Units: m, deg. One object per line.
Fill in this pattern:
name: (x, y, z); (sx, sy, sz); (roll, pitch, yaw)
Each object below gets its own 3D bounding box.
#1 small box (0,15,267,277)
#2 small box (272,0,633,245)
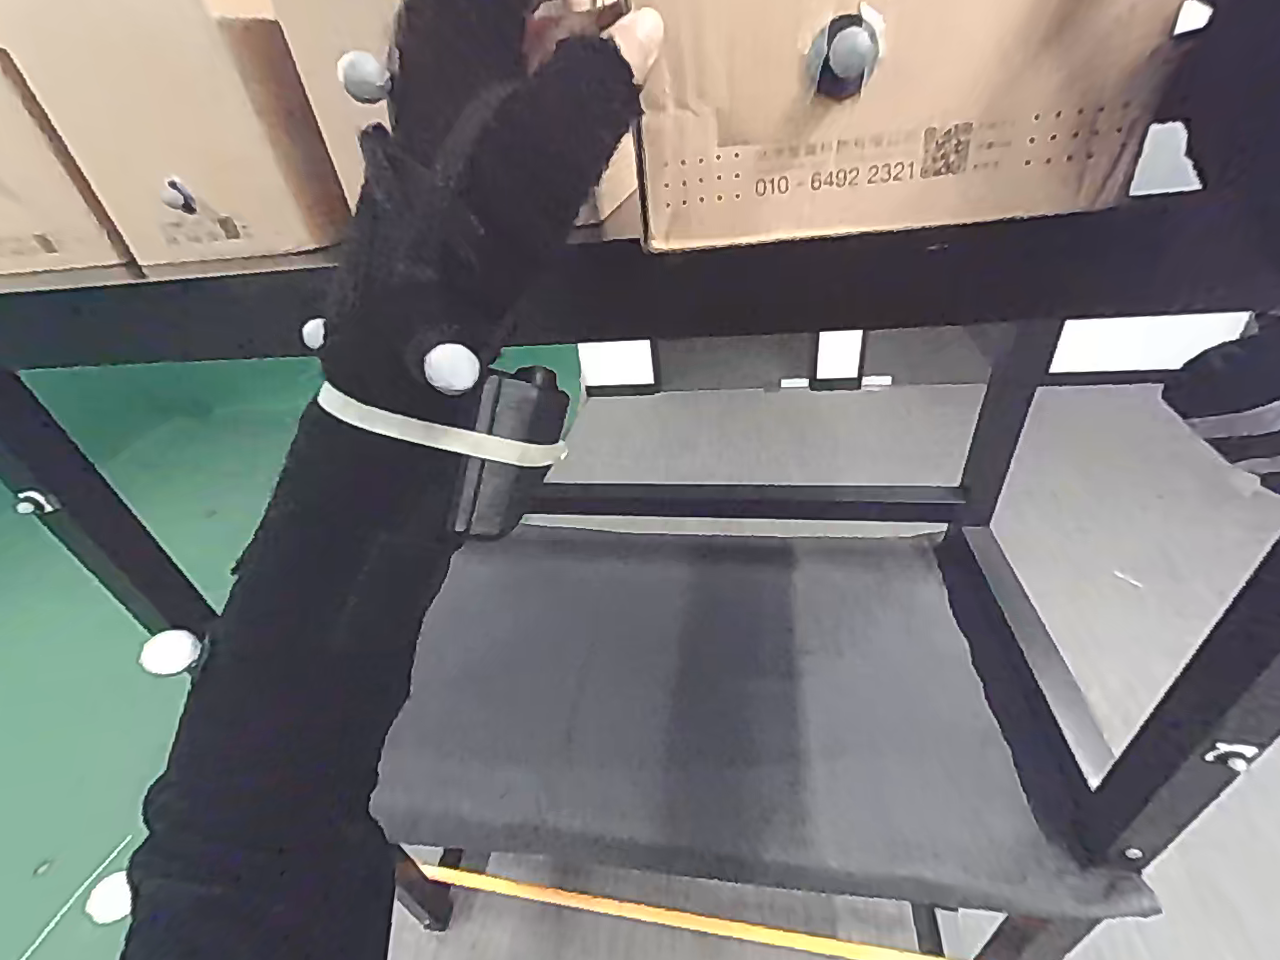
small box: (-0.489, -0.285, 0.481); (0.168, 0.176, 0.179); (1, 35, 12)
small box: (-0.103, -0.270, 0.380); (0.168, 0.176, 0.179); (-1, 34, 11)
